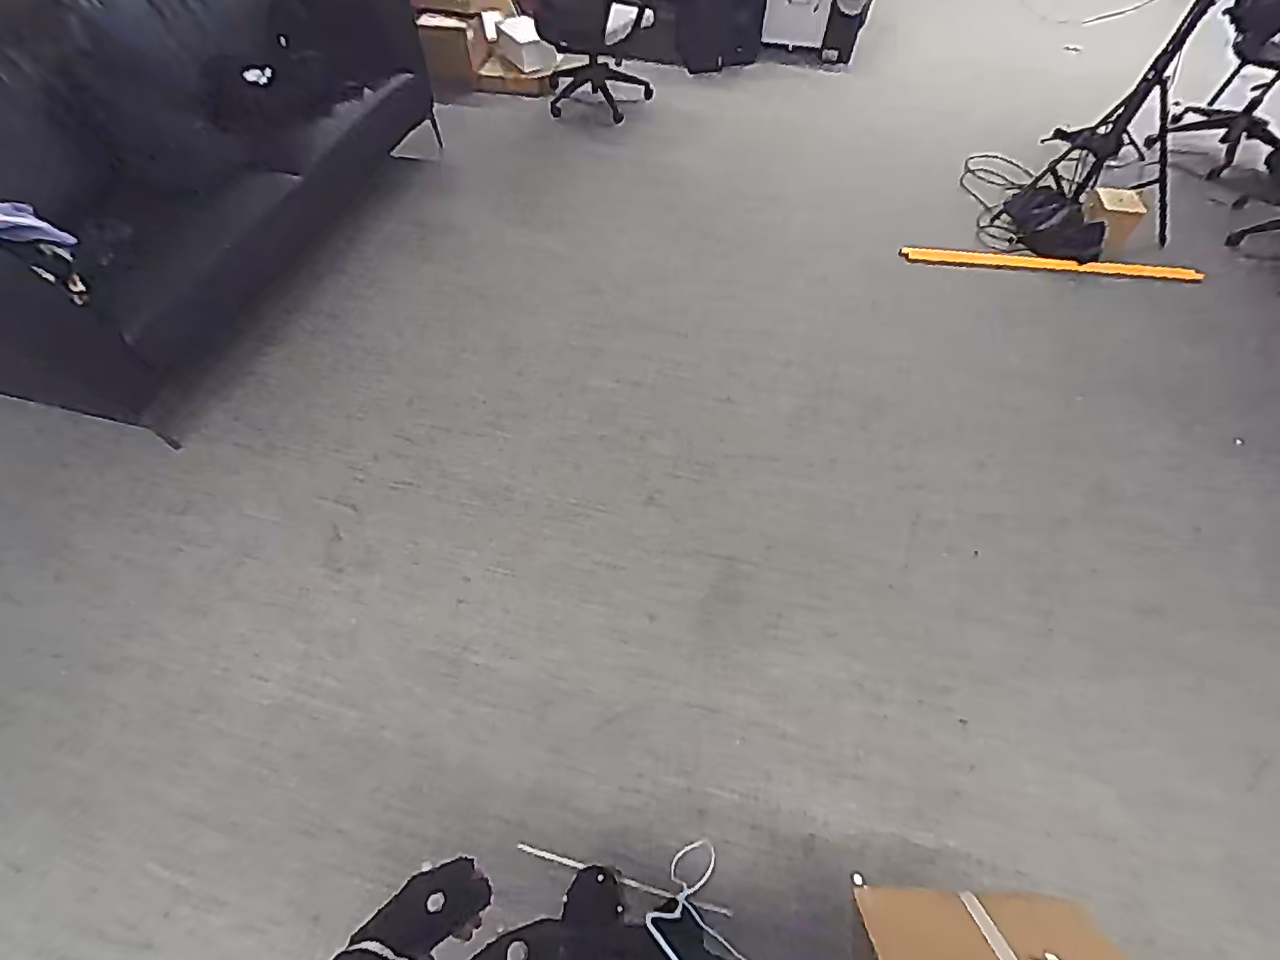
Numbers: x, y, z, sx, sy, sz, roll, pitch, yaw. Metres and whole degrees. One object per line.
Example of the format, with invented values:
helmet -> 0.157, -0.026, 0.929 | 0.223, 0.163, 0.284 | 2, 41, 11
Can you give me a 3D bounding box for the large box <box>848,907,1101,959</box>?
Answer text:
large box -> 0.443, 0.778, 0.585 | 0.320, 0.408, 0.320 | 0, 90, 6
